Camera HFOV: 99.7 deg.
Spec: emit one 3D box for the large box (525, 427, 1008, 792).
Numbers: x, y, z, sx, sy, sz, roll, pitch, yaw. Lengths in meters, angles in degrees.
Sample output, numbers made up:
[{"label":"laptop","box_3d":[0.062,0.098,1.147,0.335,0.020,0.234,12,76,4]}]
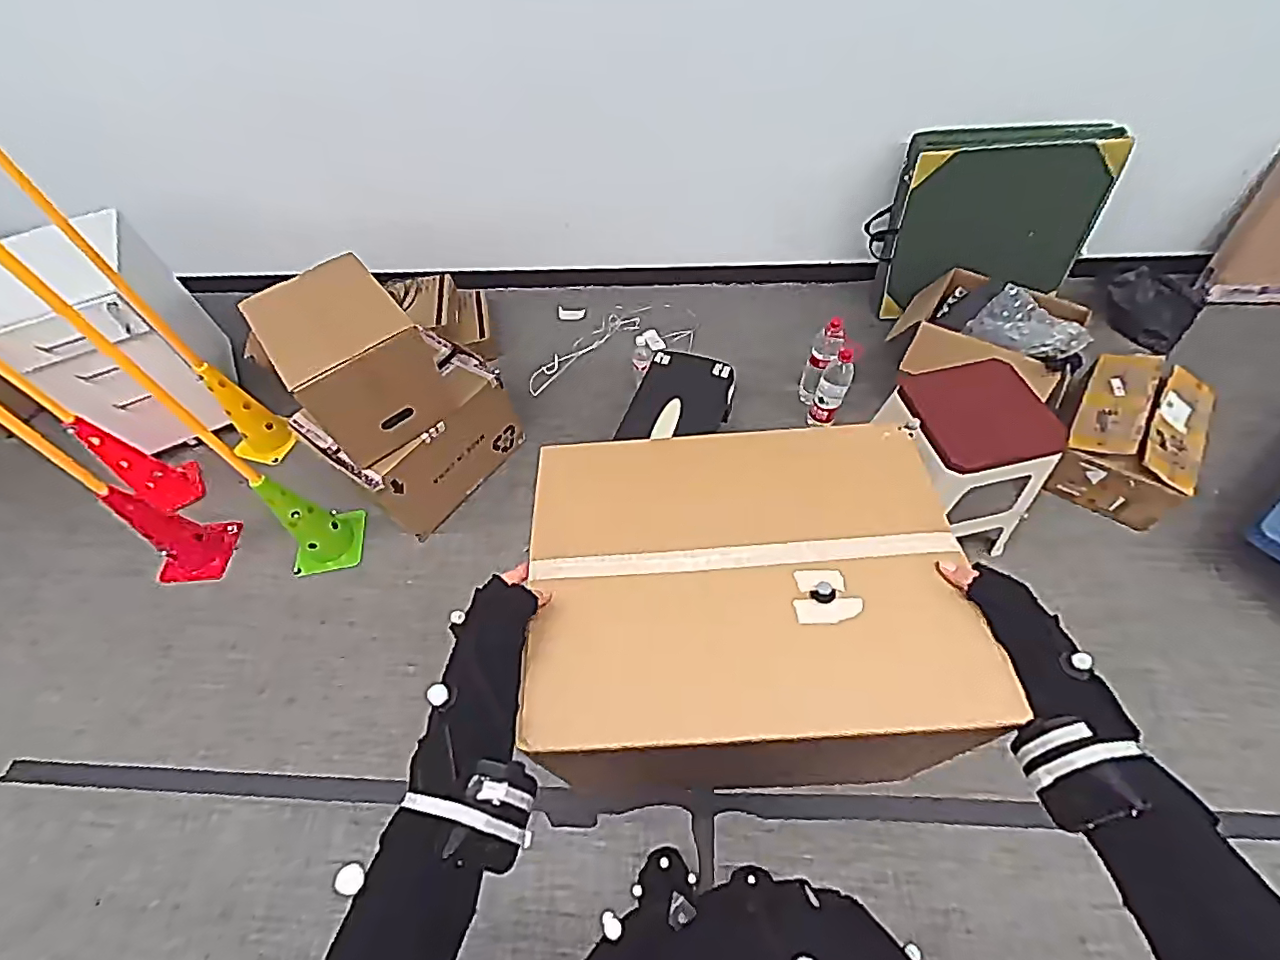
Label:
[{"label":"large box","box_3d":[0.102,0.166,0.645,0.408,0.320,0.320,-4,54,2]}]
